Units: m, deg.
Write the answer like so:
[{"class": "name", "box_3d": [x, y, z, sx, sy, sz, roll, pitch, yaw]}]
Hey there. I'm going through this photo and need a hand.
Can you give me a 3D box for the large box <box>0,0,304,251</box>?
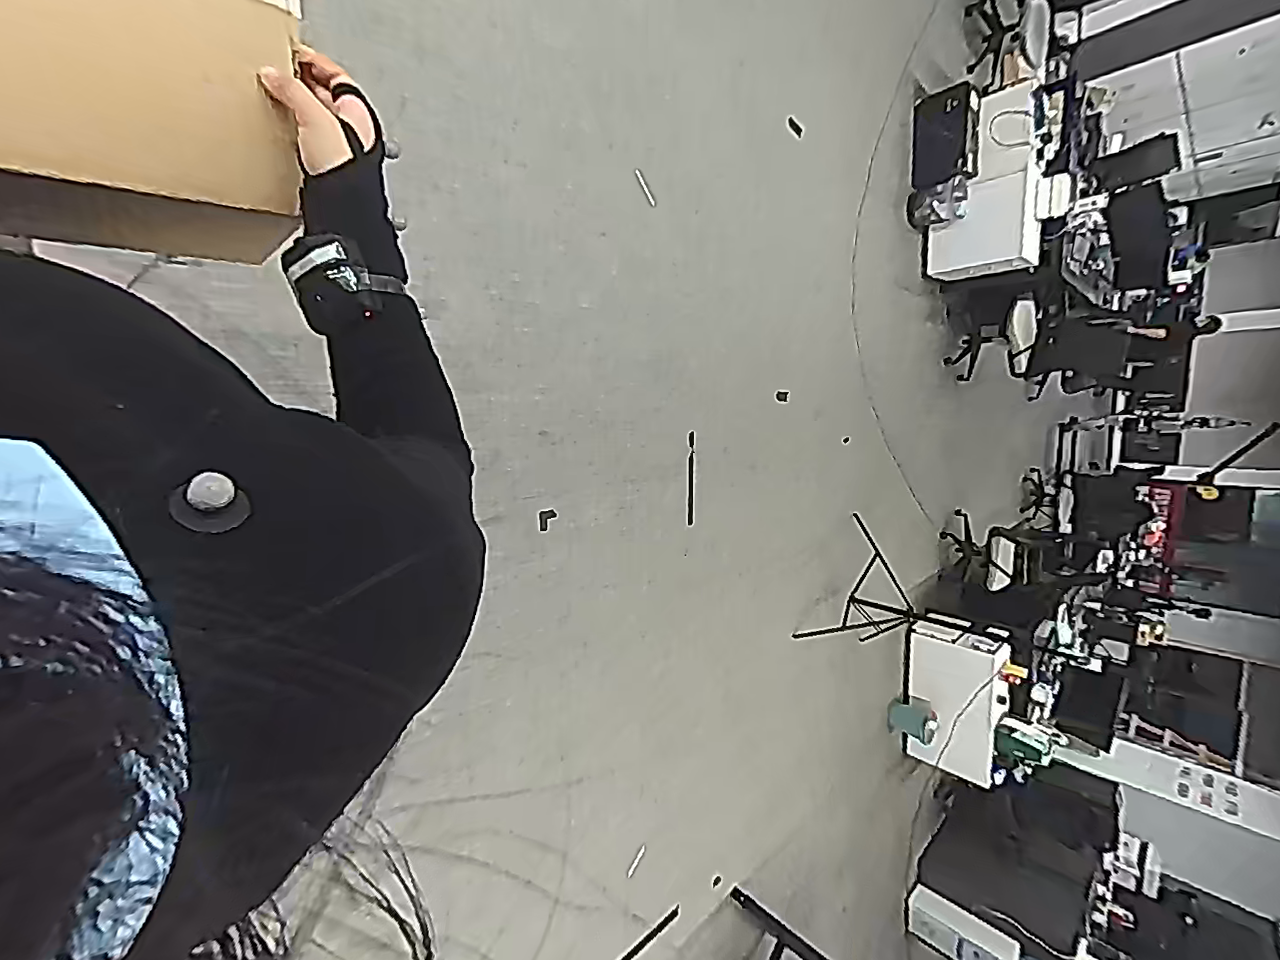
[{"class": "large box", "box_3d": [-0.524, -0.375, 0.406, 0.408, 0.320, 0.320, -9, 105, -39]}]
